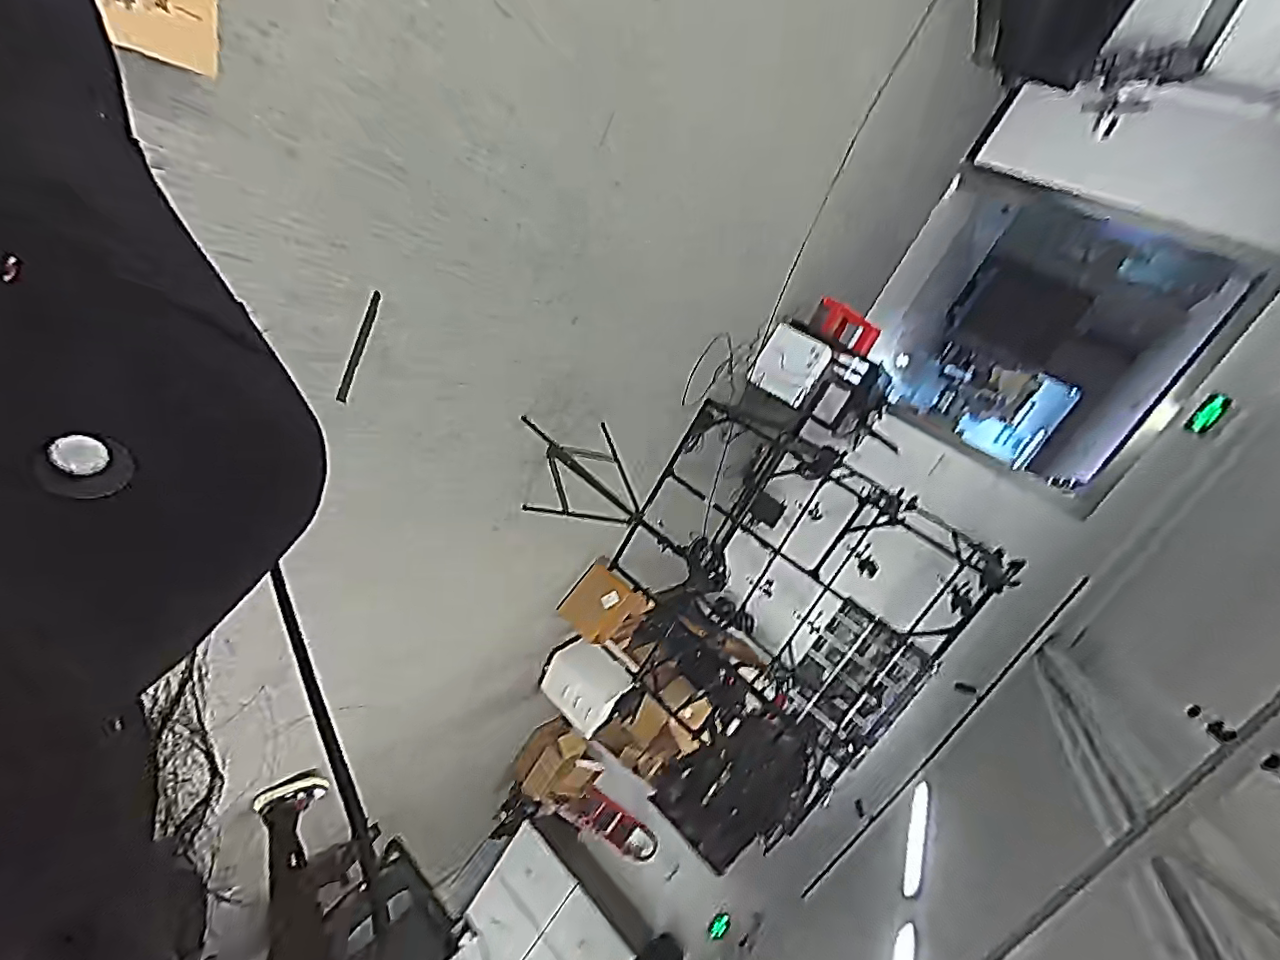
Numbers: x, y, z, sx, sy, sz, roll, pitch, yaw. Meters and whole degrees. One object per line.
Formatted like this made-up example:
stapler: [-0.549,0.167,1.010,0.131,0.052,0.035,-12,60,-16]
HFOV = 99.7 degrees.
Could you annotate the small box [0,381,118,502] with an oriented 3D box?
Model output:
small box: [-1.269,-0.080,1.130,0.168,0.176,0.179,-53,156,0]

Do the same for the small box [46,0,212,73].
small box: [-0.846,-0.819,0.892,0.179,0.176,0.168,-16,136,-55]
